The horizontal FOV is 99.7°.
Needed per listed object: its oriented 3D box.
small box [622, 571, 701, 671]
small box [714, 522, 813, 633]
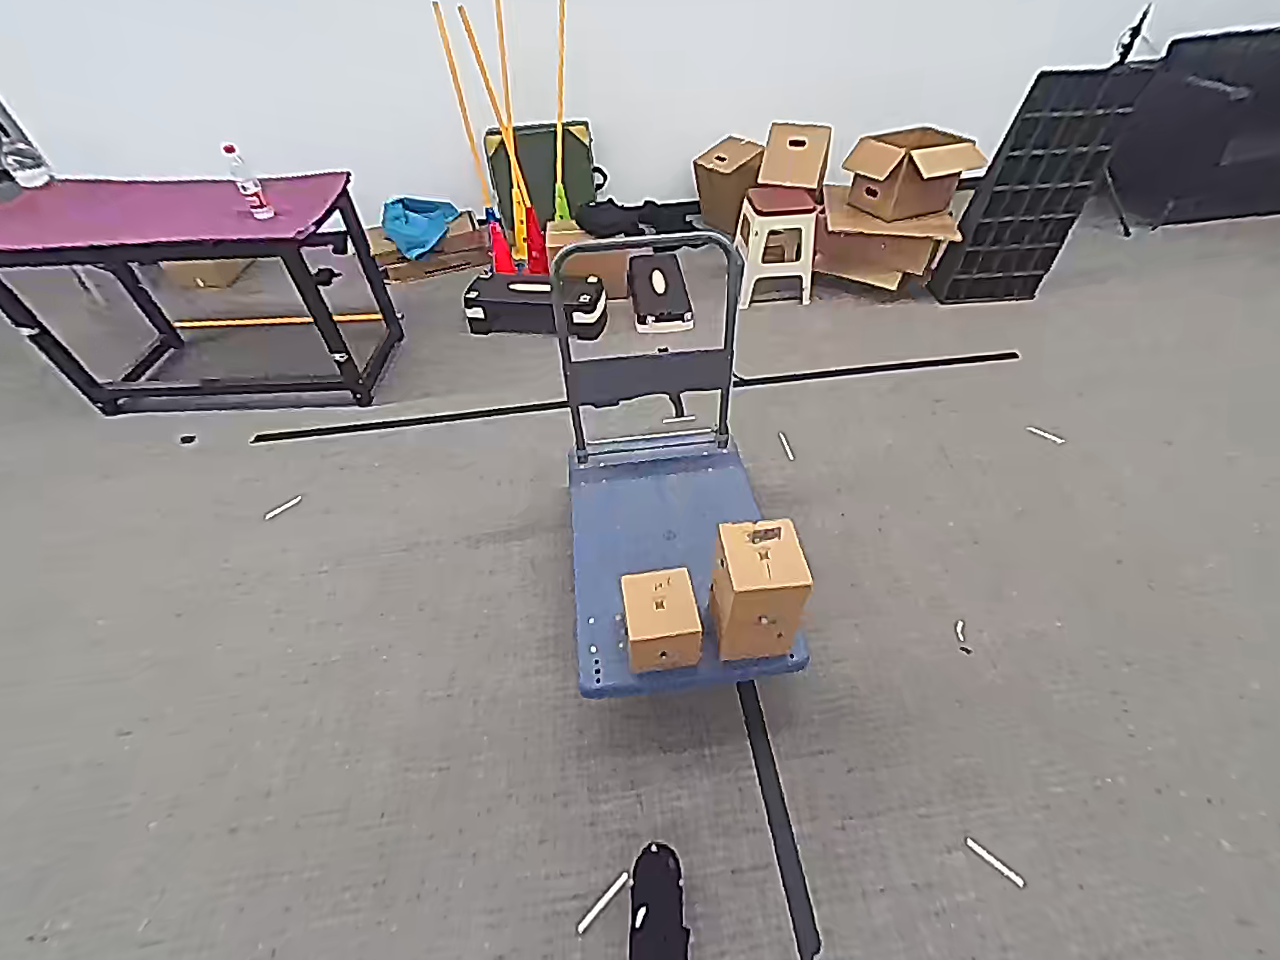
[{"bbox_3d":[0.050,0.348,1.314,0.168,0.176,0.179,-7,46,-5],"label":"small box"},{"bbox_3d":[0.264,0.217,1.204,0.168,0.176,0.179,-5,47,-2],"label":"small box"}]
